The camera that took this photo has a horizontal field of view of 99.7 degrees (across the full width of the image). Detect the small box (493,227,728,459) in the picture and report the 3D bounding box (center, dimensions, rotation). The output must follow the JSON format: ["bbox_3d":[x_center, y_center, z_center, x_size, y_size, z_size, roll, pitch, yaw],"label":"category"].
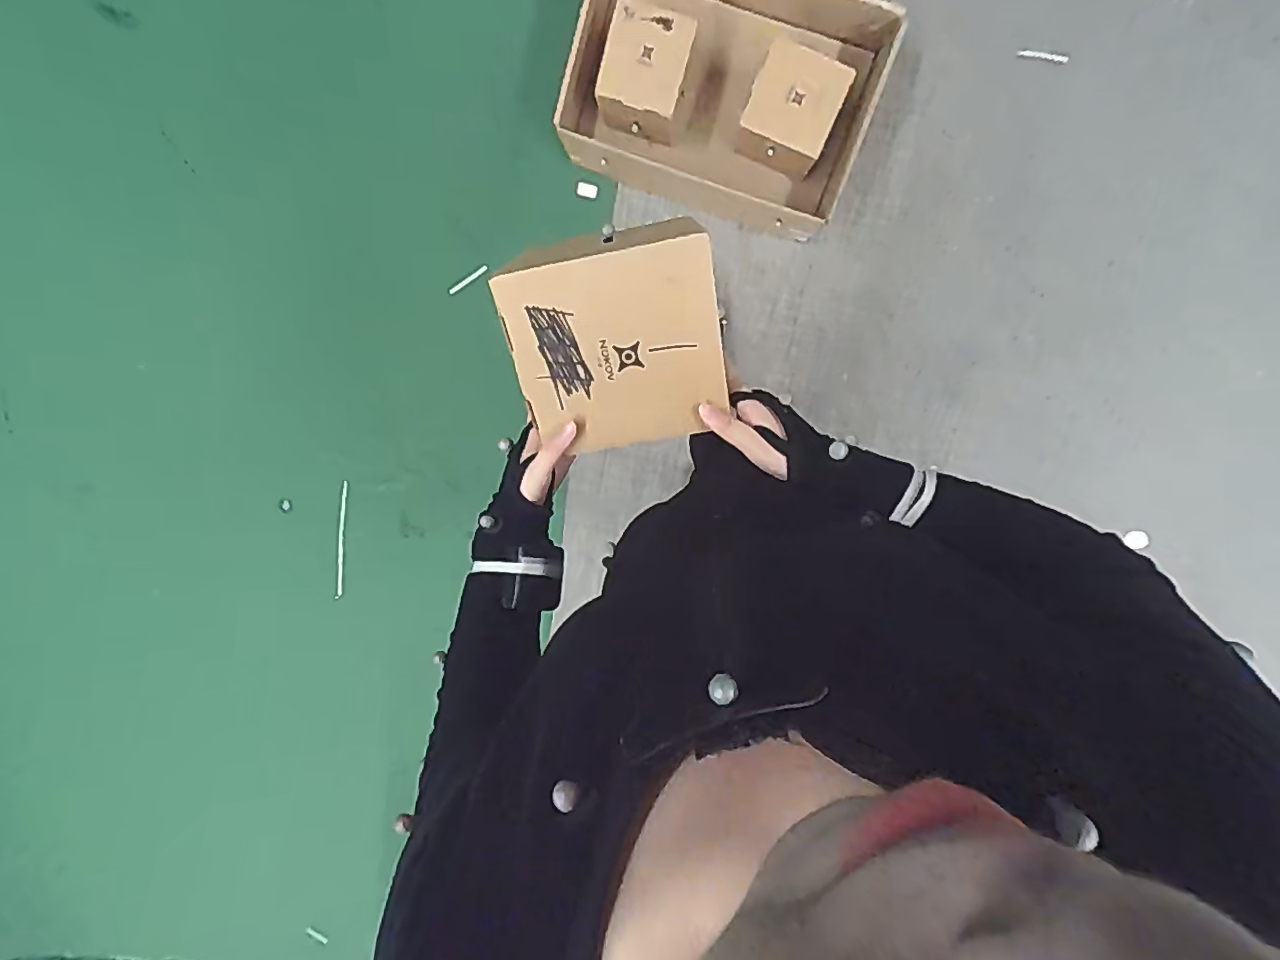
[{"bbox_3d":[-0.019,-0.140,0.527,0.179,0.176,0.168,-10,118,4],"label":"small box"}]
